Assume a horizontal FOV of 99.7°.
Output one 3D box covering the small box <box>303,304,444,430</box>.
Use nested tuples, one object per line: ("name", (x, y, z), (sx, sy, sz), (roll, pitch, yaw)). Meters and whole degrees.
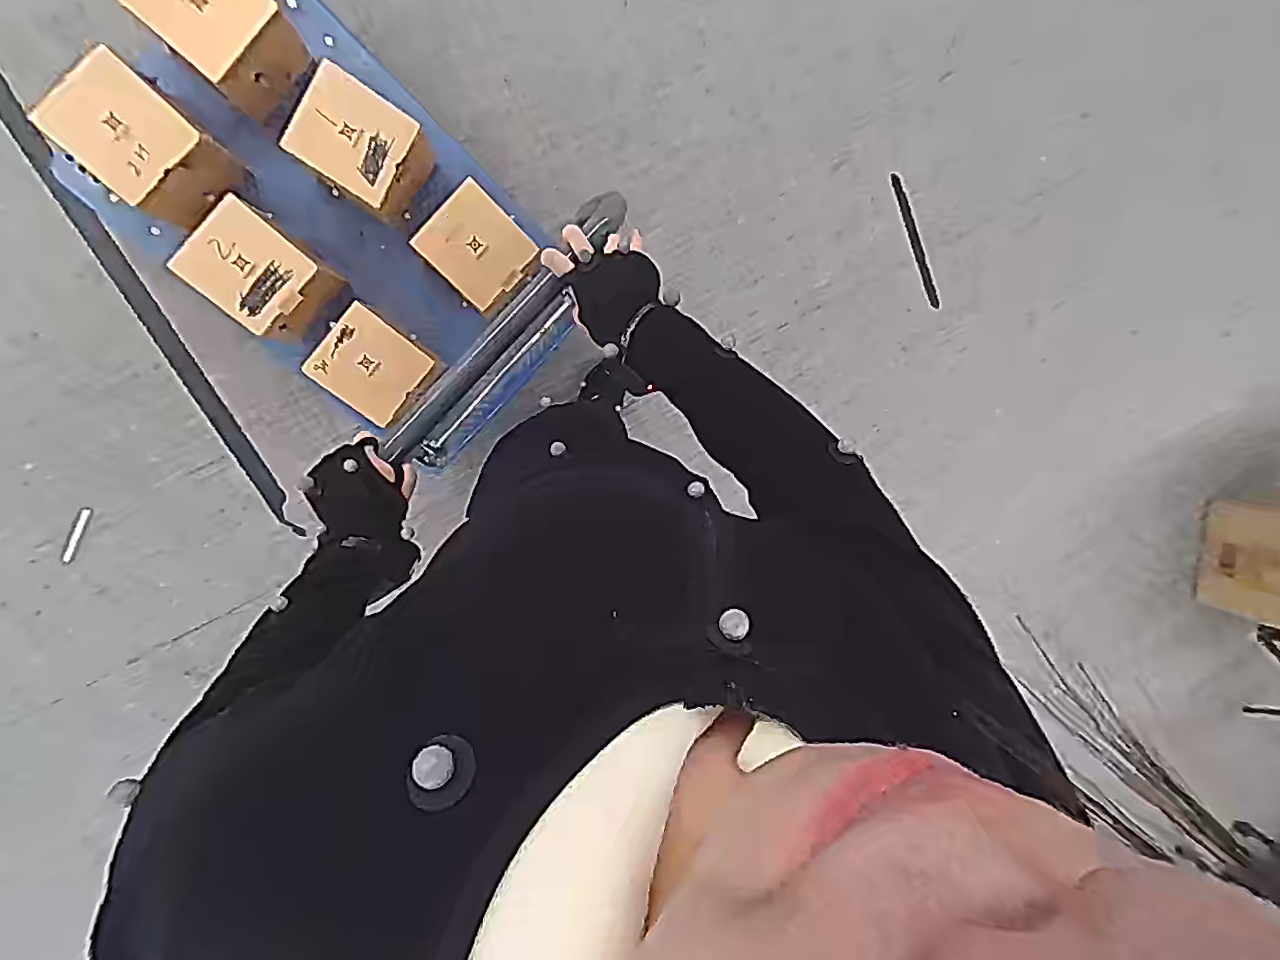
("small box", (-0.515, -0.225, 1.081), (0.179, 0.176, 0.168), (39, 90, -17))

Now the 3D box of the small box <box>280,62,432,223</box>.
("small box", (-0.511, -0.605, 1.003), (0.179, 0.176, 0.168), (30, 94, -16))

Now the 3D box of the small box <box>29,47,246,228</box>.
("small box", (-0.845, -0.571, 0.933), (0.168, 0.176, 0.179), (-46, 108, 0))

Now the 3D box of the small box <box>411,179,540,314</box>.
("small box", (-0.319, -0.450, 1.081), (0.179, 0.176, 0.168), (43, 89, -16))

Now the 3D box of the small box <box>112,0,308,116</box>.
("small box", (-0.715, -0.767, 0.923), (0.179, 0.176, 0.168), (39, 92, -17))
